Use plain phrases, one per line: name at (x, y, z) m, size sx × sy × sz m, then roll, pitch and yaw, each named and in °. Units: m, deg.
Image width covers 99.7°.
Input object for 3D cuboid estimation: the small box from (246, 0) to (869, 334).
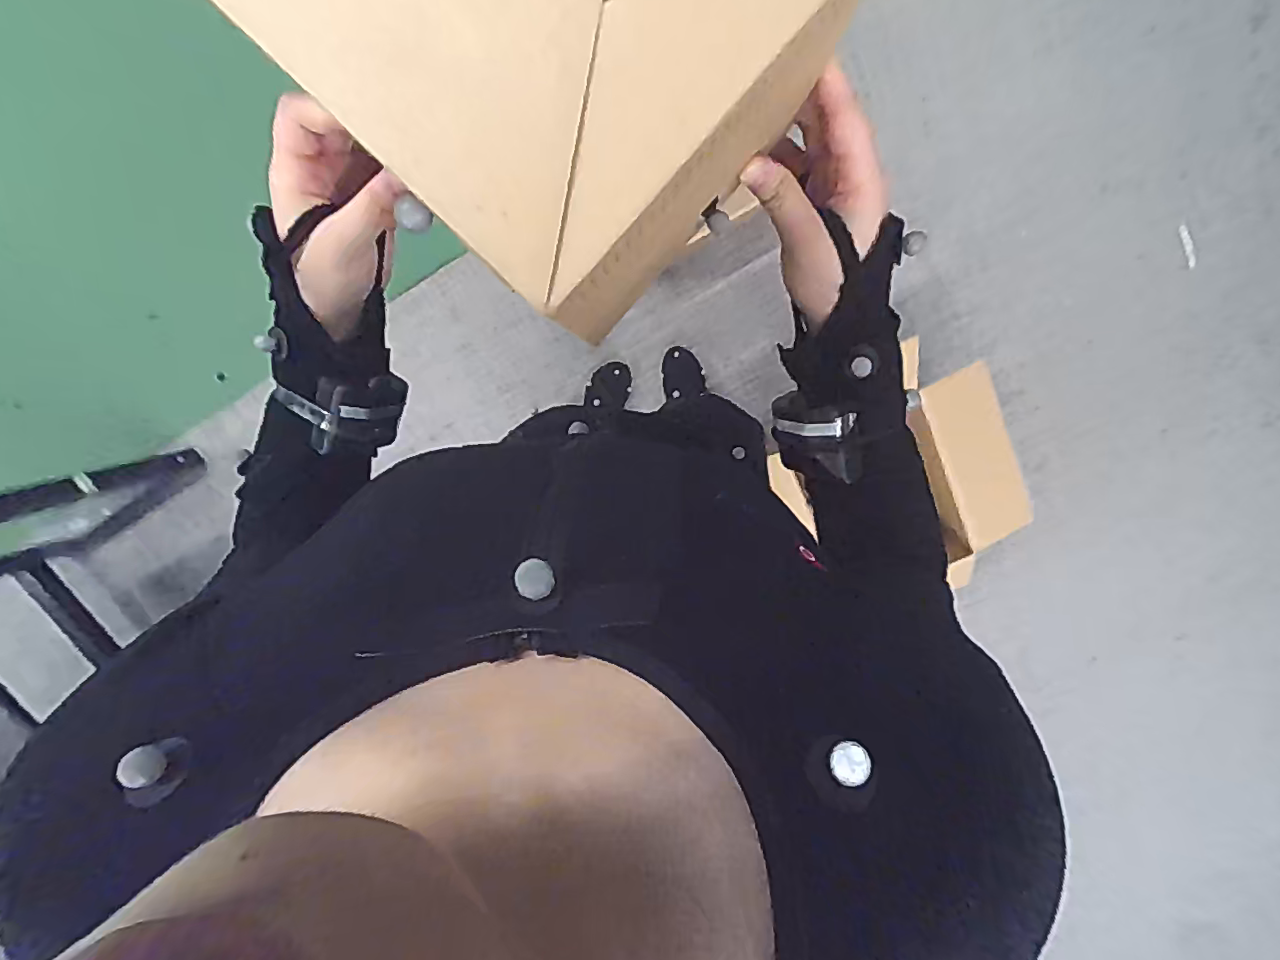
small box at (-0.021, -0.191, 0.248) m, size 0.168 × 0.176 × 0.179 m, roll 42°, pitch 97°, yaw -7°
